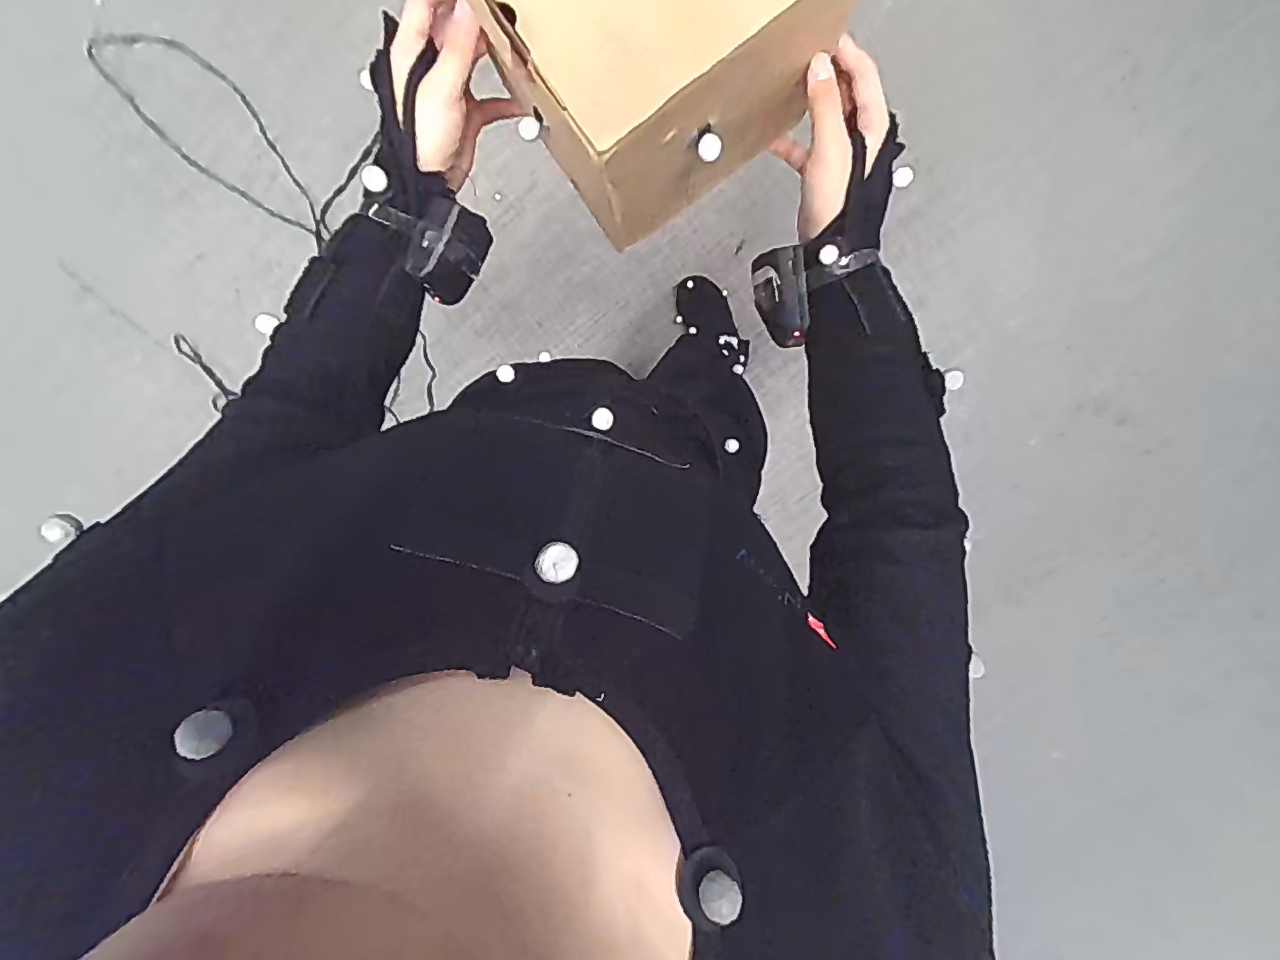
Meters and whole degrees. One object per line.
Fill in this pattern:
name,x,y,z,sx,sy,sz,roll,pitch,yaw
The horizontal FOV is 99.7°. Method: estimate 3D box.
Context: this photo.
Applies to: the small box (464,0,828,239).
small box,0.002,-0.292,0.349,0.179,0.176,0.168,-36,94,6
